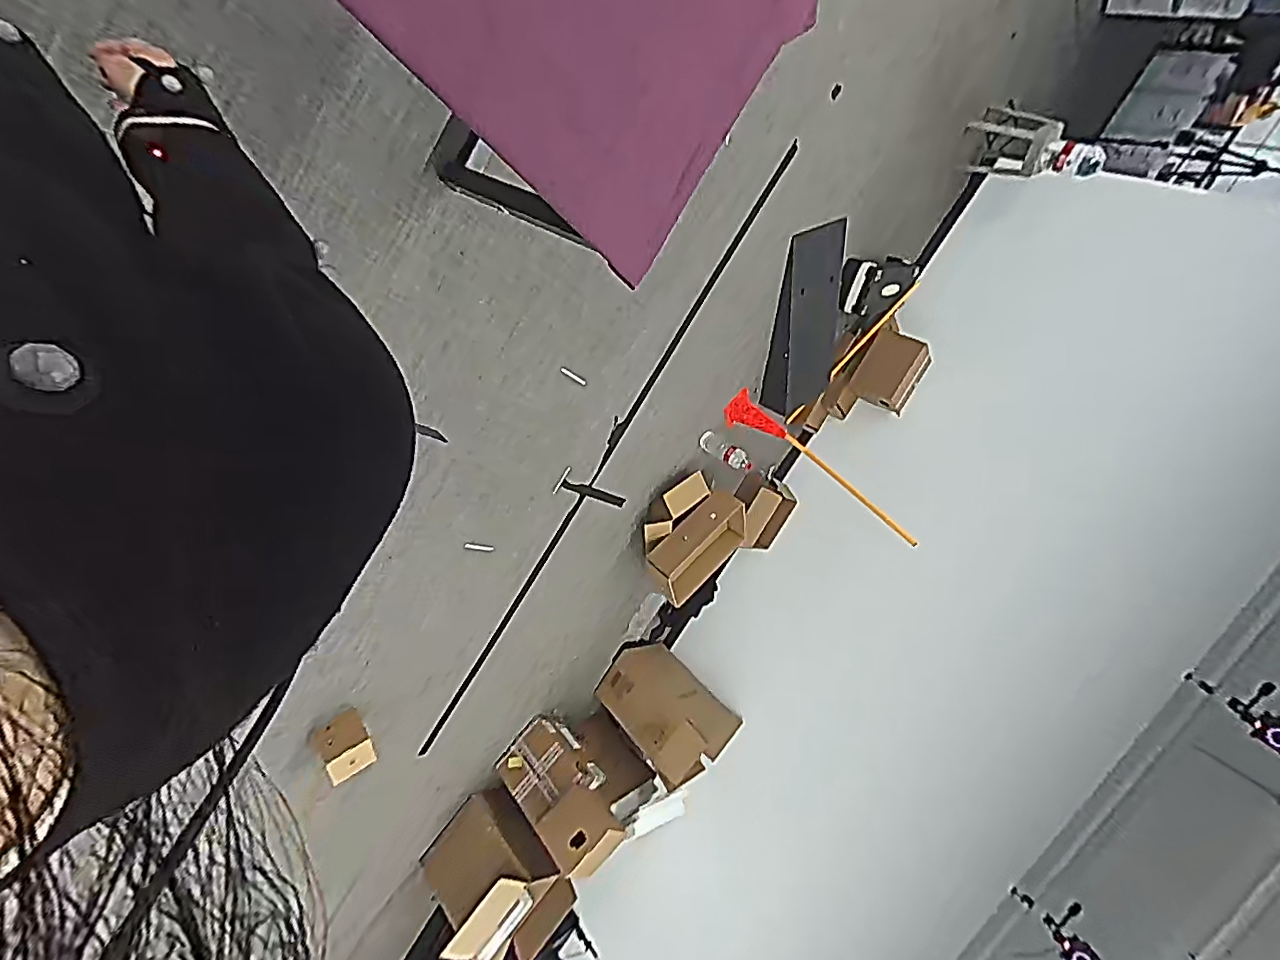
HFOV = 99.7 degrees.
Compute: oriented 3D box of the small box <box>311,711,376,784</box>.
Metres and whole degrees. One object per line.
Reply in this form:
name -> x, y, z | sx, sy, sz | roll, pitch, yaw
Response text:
small box -> -1.181, 1.055, 2.150 | 0.168, 0.176, 0.179 | -25, 139, -36
